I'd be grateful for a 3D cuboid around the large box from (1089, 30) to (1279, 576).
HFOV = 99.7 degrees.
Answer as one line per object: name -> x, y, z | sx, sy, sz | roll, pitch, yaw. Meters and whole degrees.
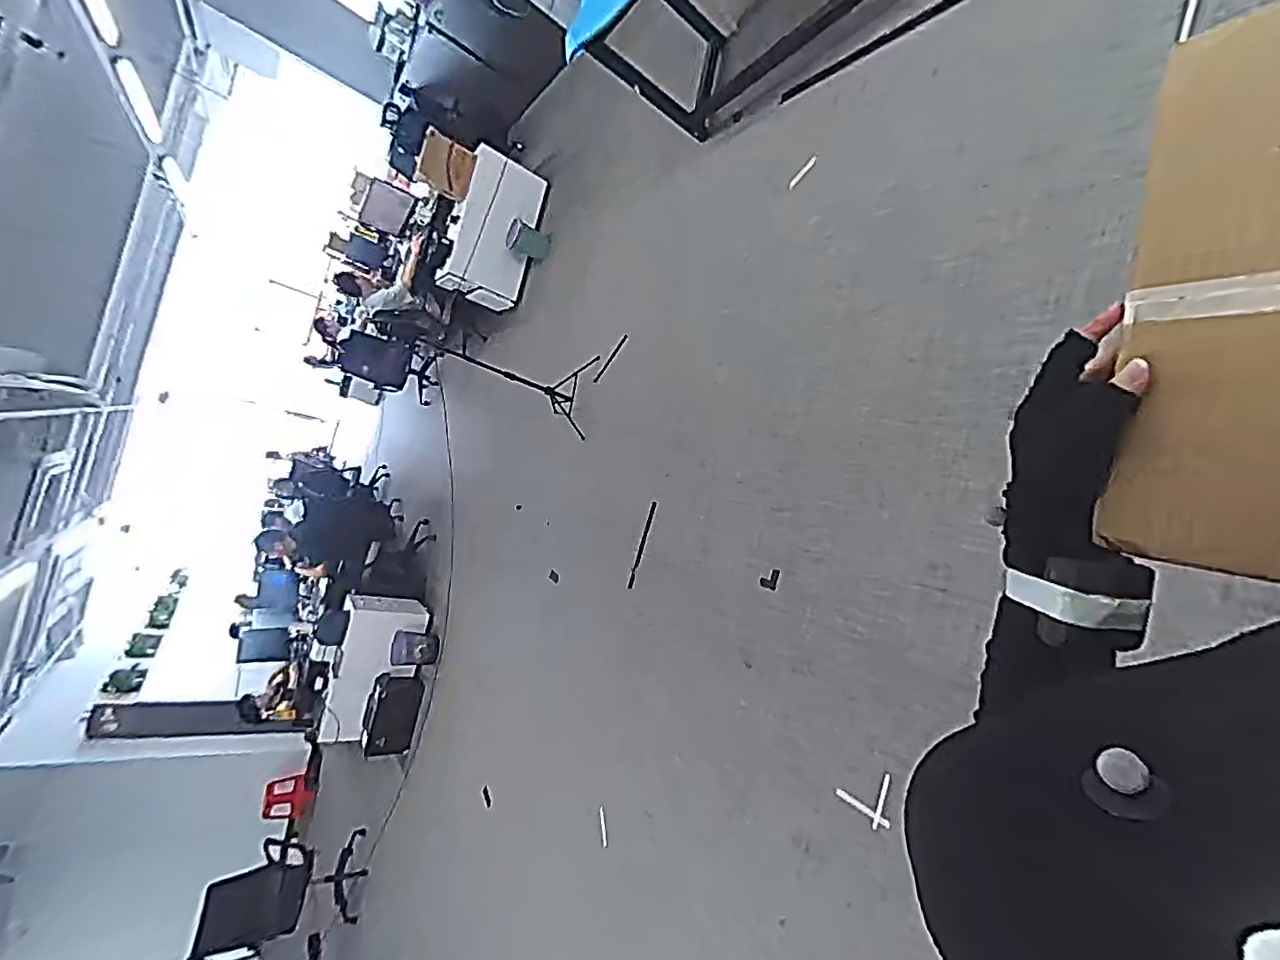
large box -> 0.551, -0.086, 0.275 | 0.408, 0.320, 0.320 | 12, 98, 57
